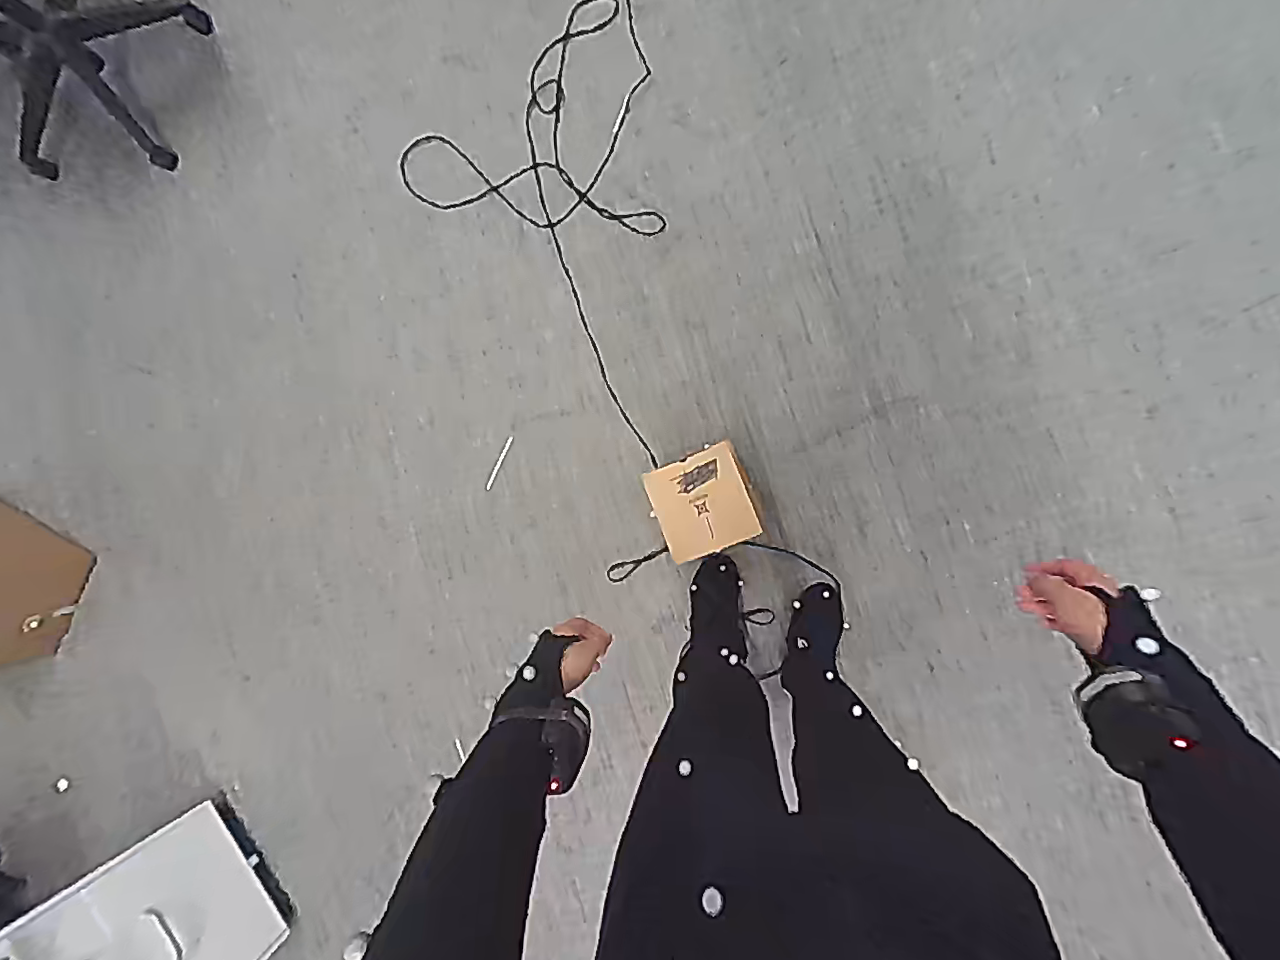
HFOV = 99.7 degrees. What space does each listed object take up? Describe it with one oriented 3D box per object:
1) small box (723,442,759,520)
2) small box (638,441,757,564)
[{"bbox_3d":[0.145,0.031,1.184,0.168,0.176,0.179,-26,86,6],"label":"small box"},{"bbox_3d":[0.108,0.040,1.024,0.168,0.176,0.179,-22,88,8],"label":"small box"}]
